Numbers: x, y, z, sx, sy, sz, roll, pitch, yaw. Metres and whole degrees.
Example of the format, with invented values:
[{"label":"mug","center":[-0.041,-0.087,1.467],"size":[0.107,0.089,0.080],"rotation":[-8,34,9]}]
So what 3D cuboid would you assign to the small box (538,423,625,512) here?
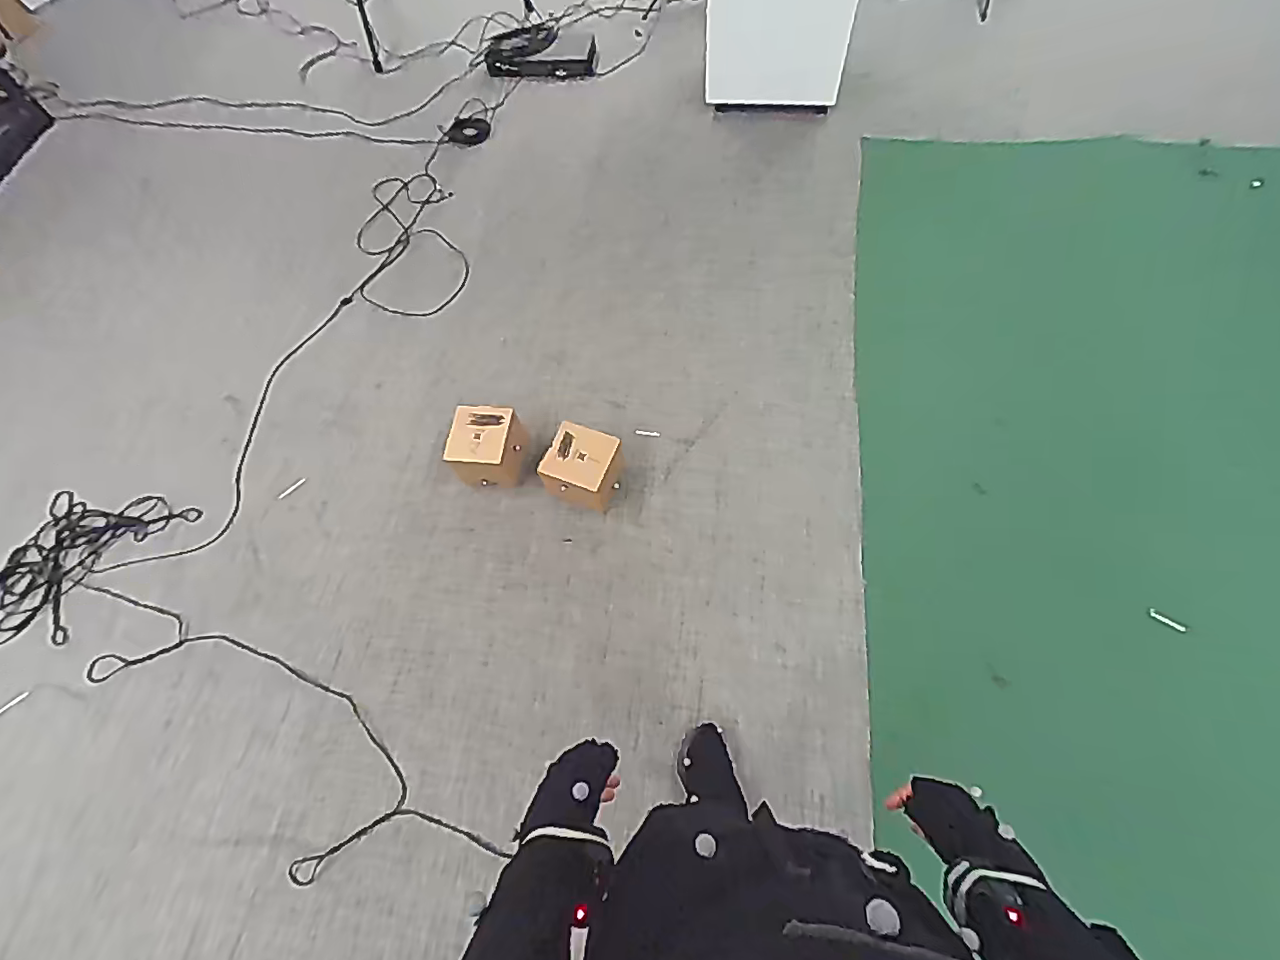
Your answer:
[{"label":"small box","center":[-0.155,-0.029,1.502],"size":[0.179,0.176,0.168],"rotation":[19,69,12]}]
